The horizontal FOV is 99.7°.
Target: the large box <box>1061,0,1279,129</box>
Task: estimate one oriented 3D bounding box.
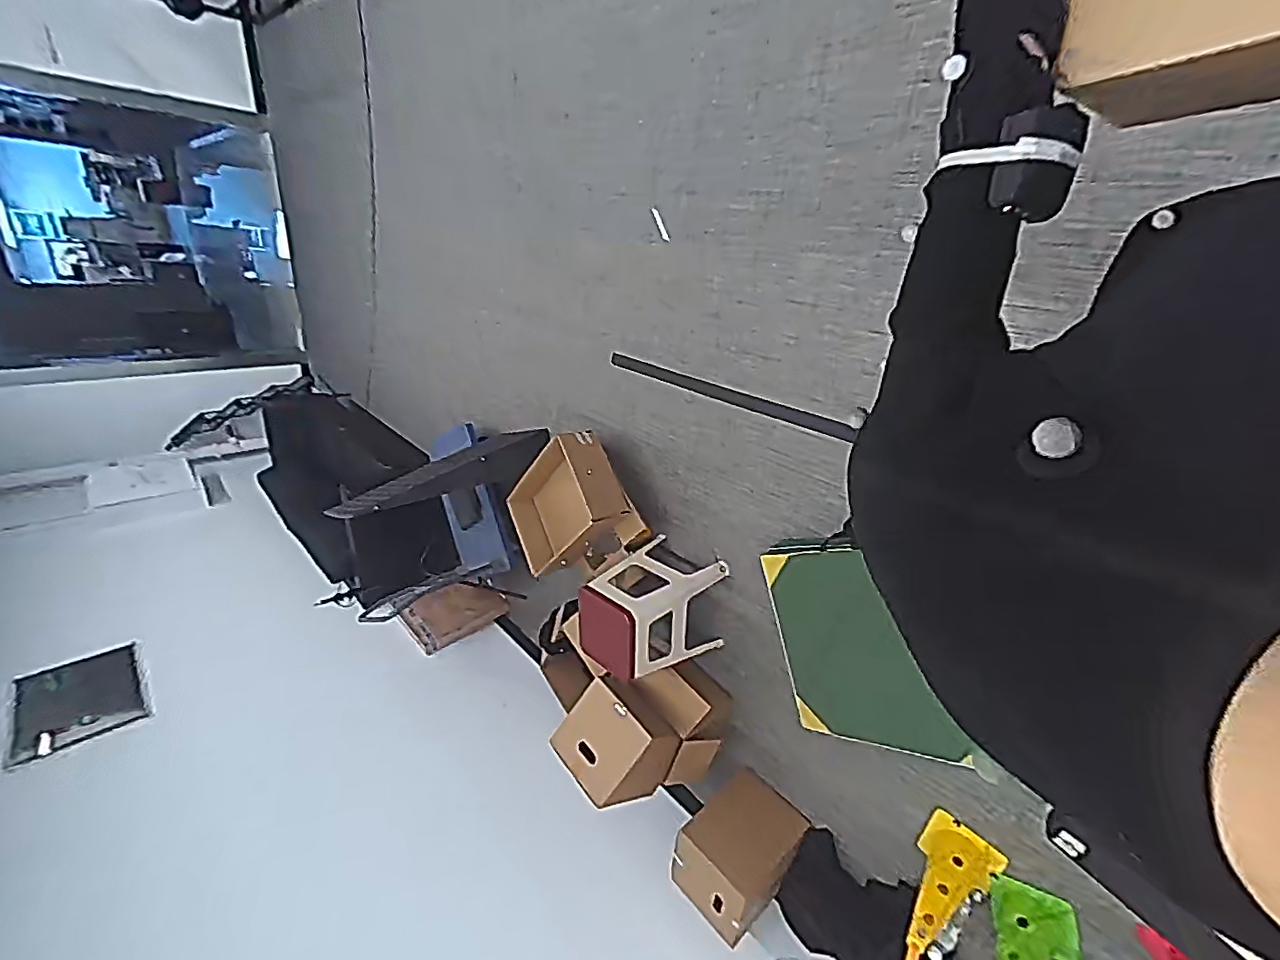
[{"bbox_3d":[0.537,-0.439,0.307,0.408,0.320,0.320,16,120,43],"label":"large box"}]
